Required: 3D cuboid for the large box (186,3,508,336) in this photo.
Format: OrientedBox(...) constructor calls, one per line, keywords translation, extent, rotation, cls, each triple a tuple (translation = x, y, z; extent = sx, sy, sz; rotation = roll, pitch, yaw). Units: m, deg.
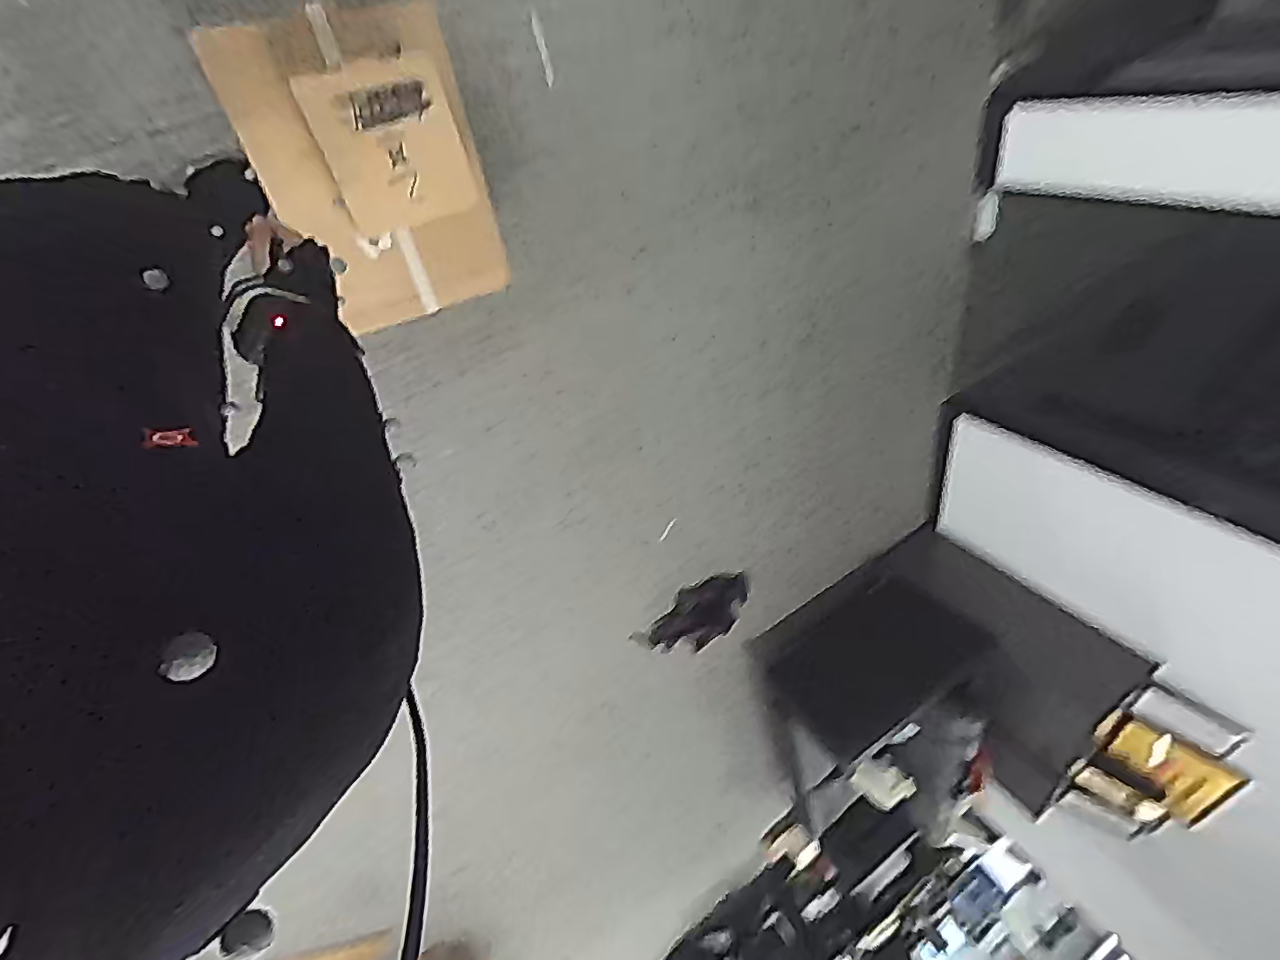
OrientedBox(translation=(-0.477, -0.526, 0.934), extent=(0.320, 0.320, 0.408), rotation=(-25, 132, -18), cls="large box")
